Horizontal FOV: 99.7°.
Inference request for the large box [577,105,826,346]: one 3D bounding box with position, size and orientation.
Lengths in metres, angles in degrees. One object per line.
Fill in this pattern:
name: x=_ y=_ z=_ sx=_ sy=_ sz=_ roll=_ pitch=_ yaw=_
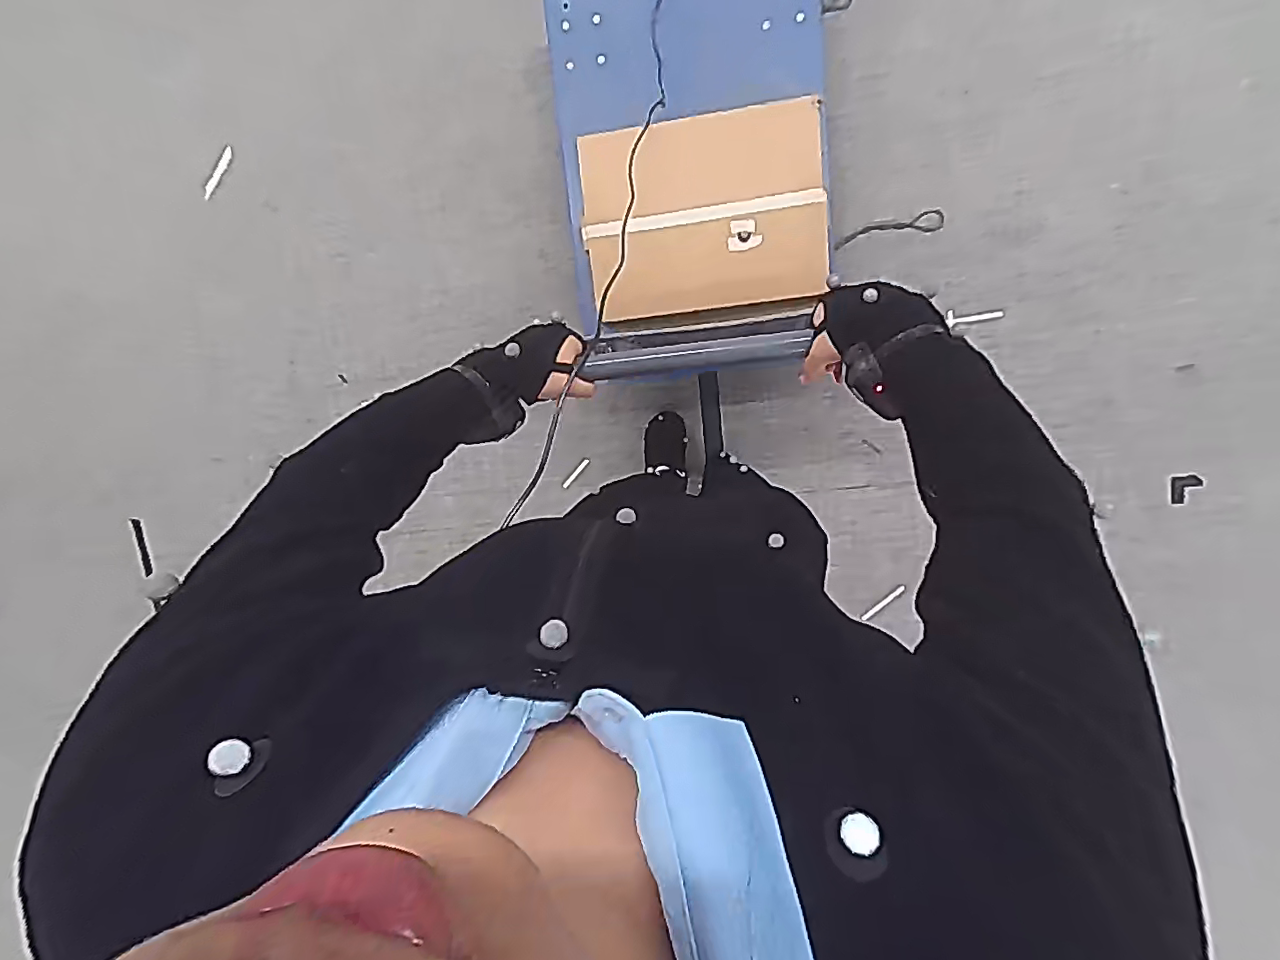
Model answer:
large box: x=0.118 y=-0.460 z=1.066 sx=0.408 sy=0.320 sz=0.320 roll=-5 pitch=99 yaw=7
